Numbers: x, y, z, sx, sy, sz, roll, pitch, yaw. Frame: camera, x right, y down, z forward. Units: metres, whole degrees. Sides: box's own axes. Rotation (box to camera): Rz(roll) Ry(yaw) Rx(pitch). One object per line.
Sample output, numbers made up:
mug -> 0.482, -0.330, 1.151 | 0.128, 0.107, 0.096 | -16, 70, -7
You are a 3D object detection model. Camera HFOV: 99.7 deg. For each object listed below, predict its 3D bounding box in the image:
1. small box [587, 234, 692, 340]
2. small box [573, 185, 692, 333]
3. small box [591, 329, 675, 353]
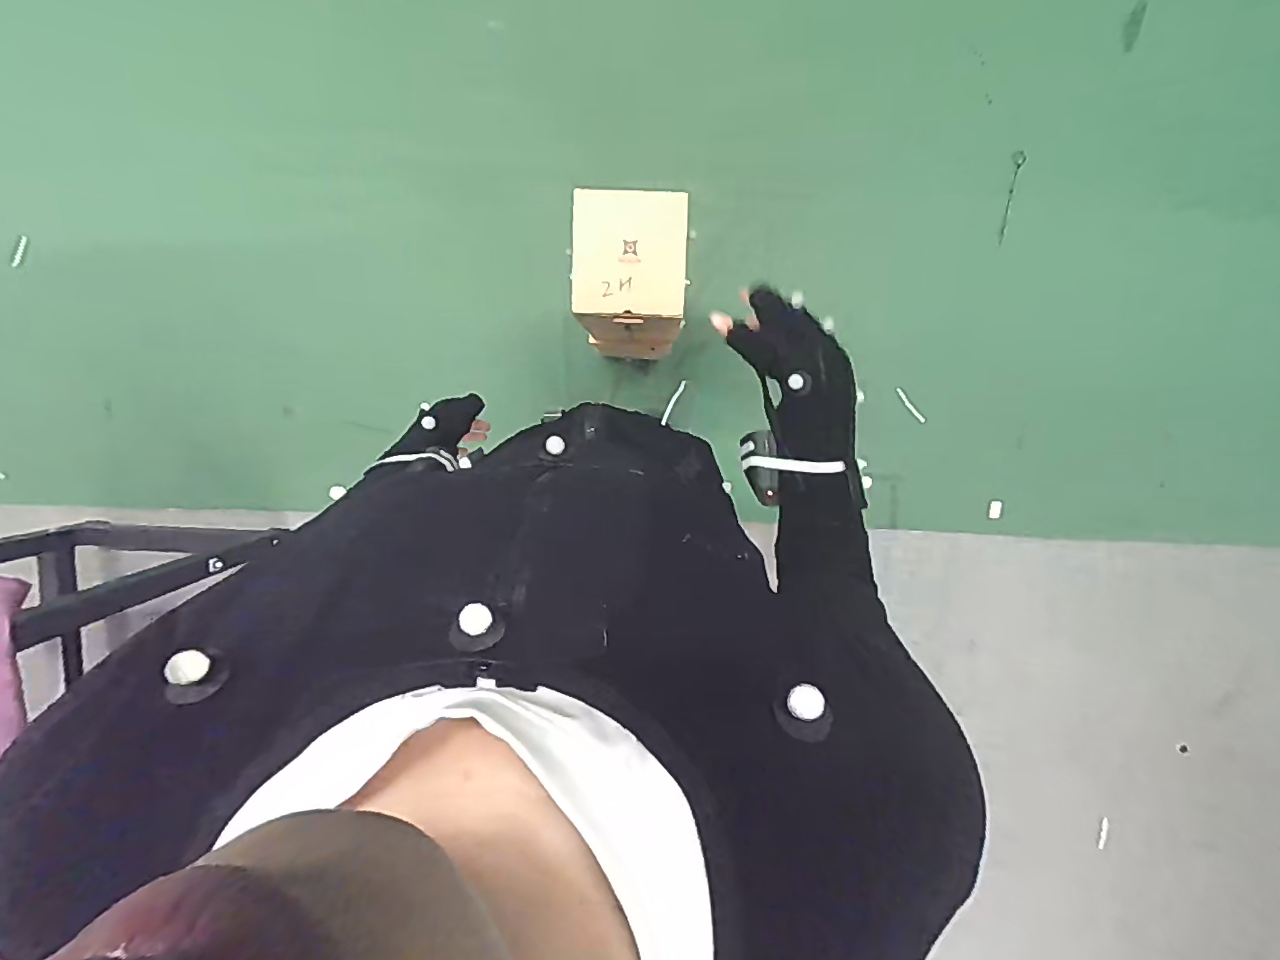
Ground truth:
small box -> -0.004, -0.361, 1.015 | 0.179, 0.176, 0.168 | 4, 96, -1
small box -> -0.012, -0.337, 0.854 | 0.168, 0.176, 0.179 | 3, 98, 0
small box -> -0.009, -0.372, 1.181 | 0.179, 0.176, 0.168 | 2, 98, 0
